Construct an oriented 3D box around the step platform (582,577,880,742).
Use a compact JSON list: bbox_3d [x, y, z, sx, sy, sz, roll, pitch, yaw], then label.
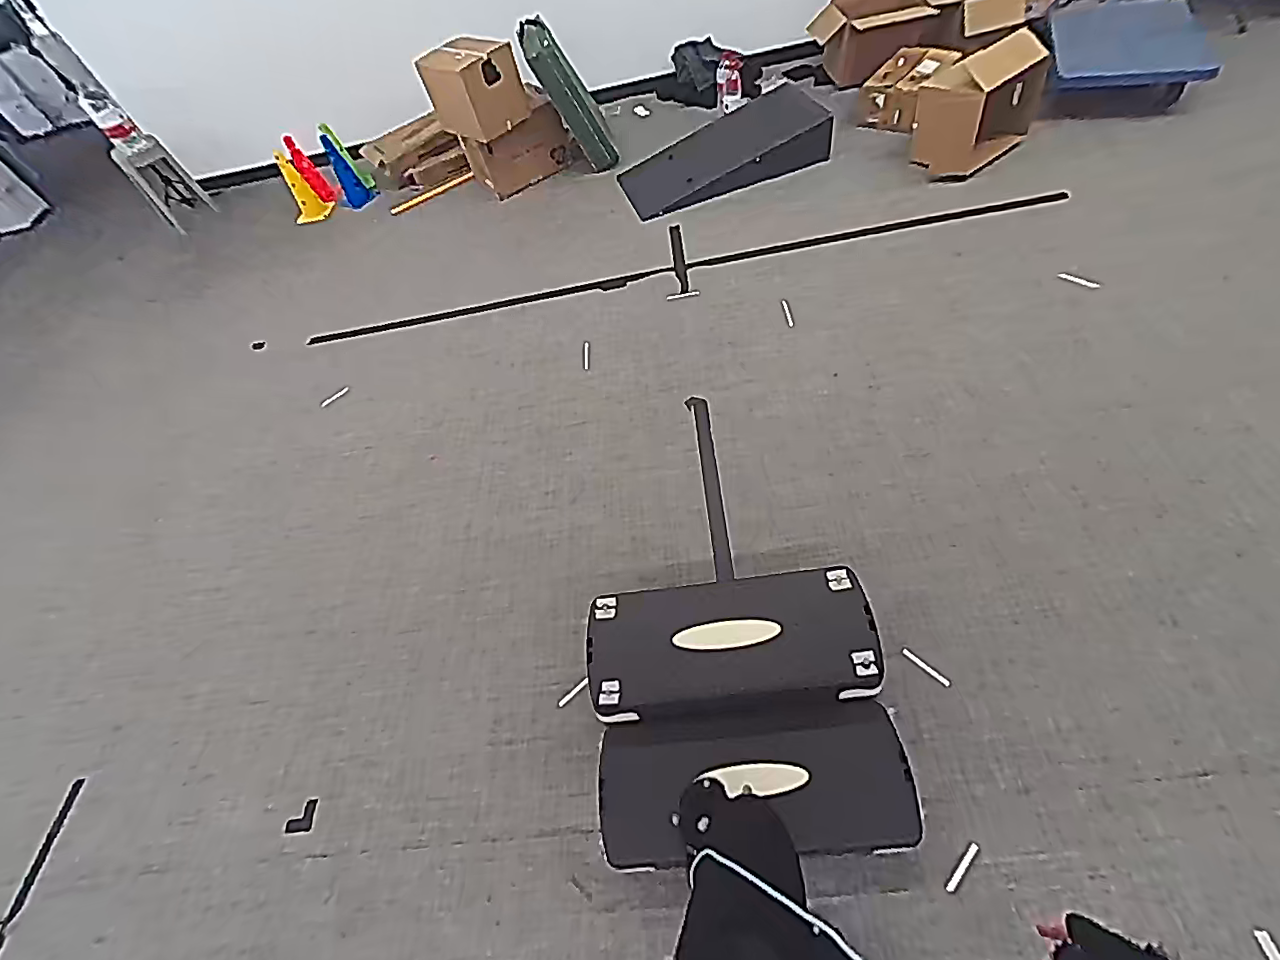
[{"bbox_3d":[0.203,0.433,1.306,0.684,0.204,0.286,-9,55,5],"label":"step platform"}]
